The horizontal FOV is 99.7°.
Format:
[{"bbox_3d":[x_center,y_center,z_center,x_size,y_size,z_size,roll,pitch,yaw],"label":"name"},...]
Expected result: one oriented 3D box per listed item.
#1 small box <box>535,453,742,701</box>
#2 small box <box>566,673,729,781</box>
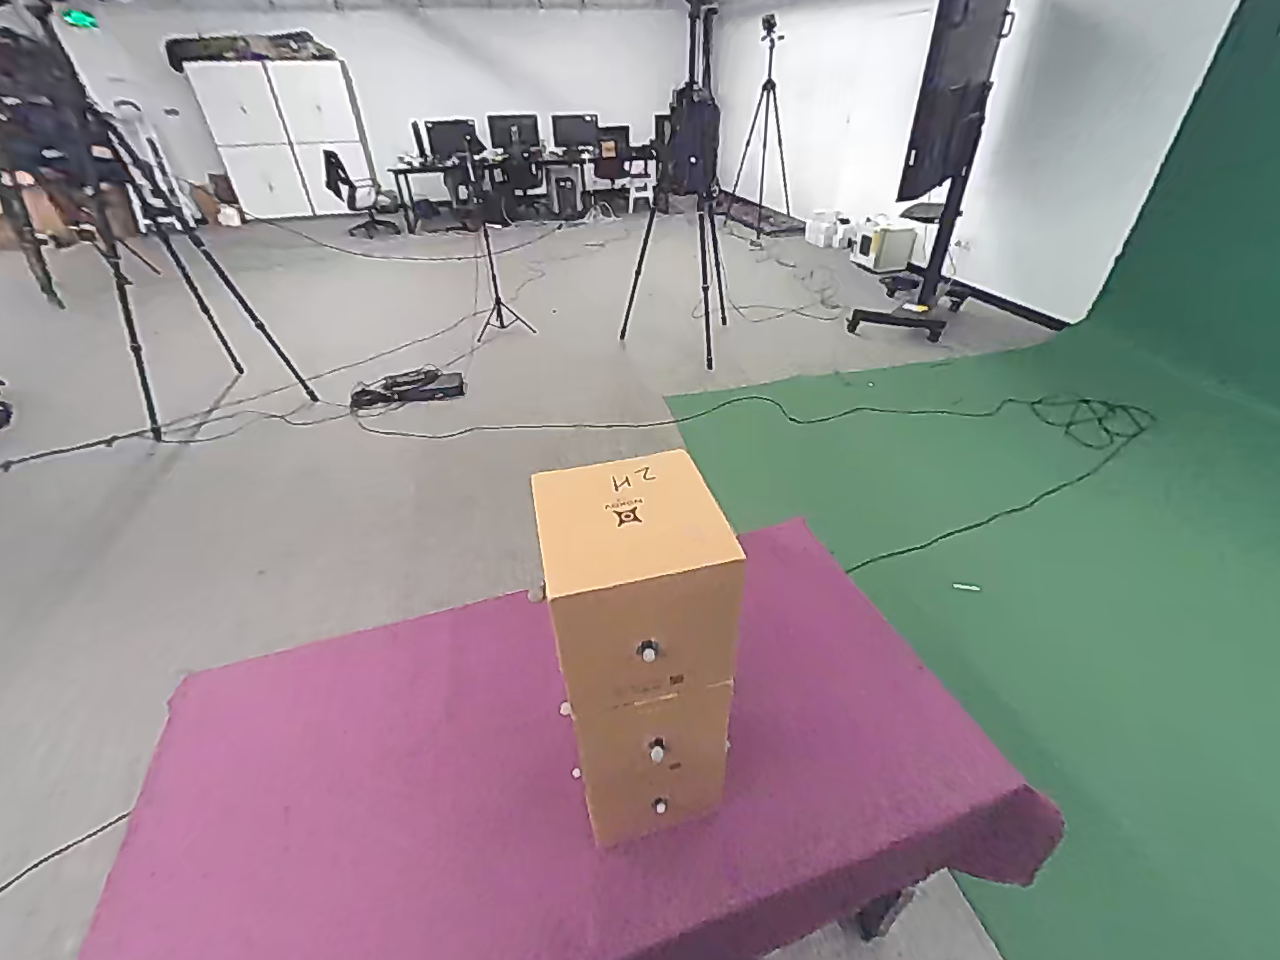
[{"bbox_3d":[-0.007,0.099,0.545,0.168,0.176,0.179,-9,36,-10],"label":"small box"},{"bbox_3d":[-0.001,0.231,0.644,0.168,0.176,0.179,-8,37,-8],"label":"small box"}]
